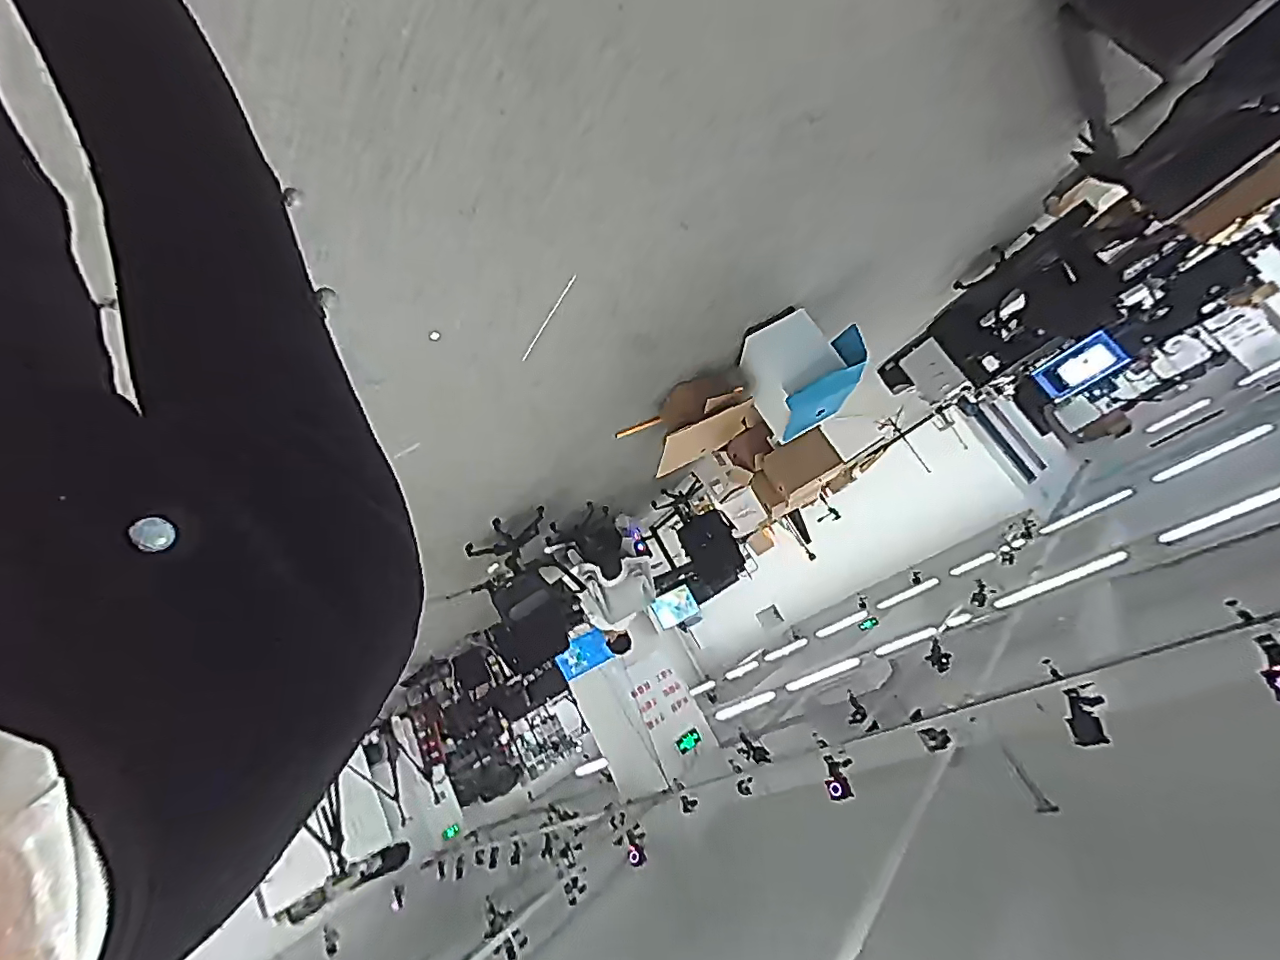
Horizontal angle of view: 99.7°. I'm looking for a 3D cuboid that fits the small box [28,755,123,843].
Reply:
[{"bbox_3d":[-1.726,0.972,1.657,0.168,0.176,0.179,-15,158,-42],"label":"small box"}]
